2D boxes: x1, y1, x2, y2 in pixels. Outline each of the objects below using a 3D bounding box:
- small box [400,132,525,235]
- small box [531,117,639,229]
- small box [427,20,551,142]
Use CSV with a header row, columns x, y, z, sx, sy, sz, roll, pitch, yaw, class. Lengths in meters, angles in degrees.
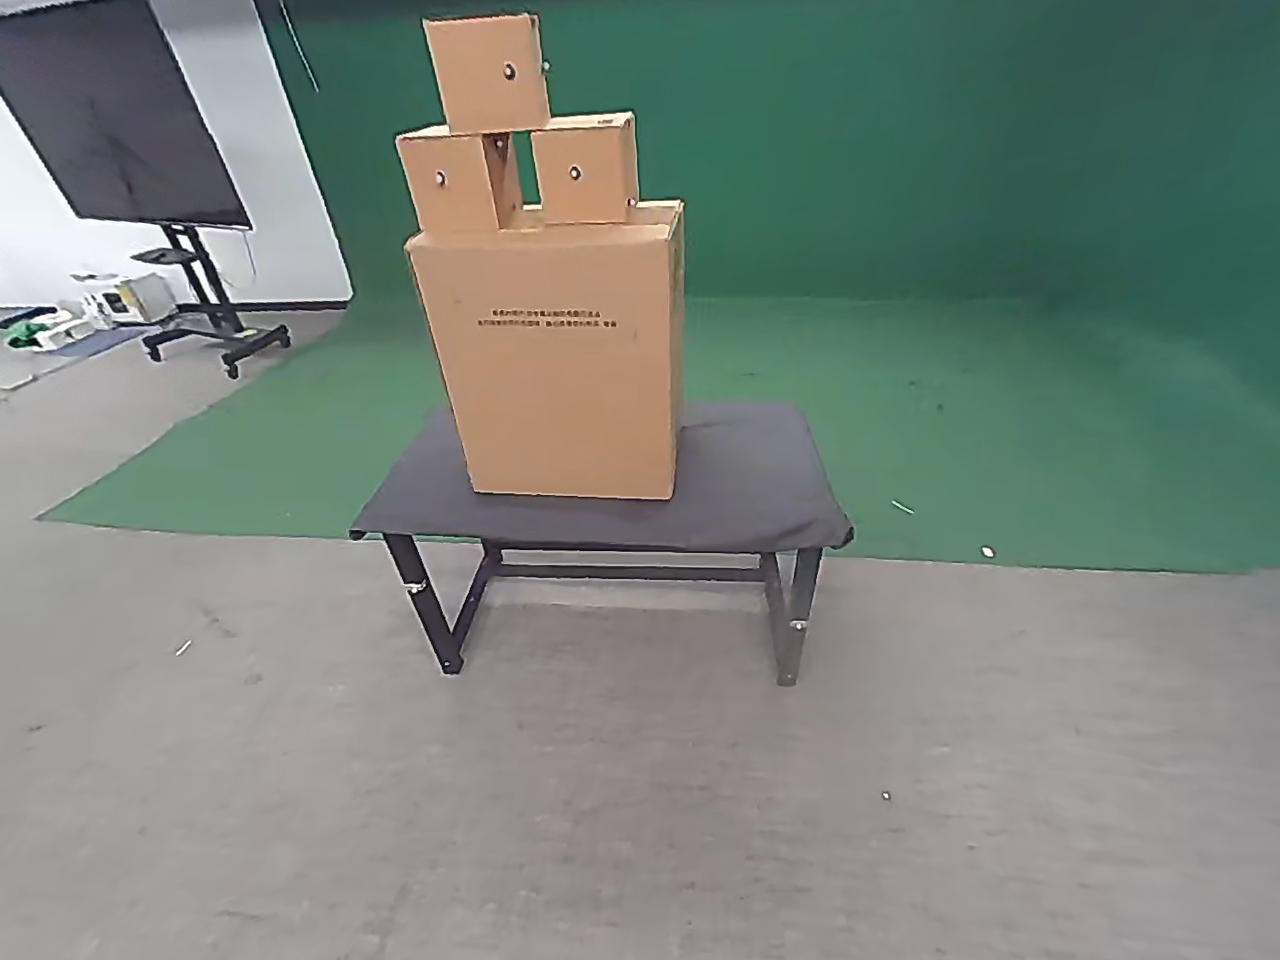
x,y,z,sx,sy,sz,roll,pitch,yaw,class
-0.359,-0.622,1.131,0.179,0.176,0.168,3,41,9,small box
-0.102,-0.630,1.112,0.179,0.176,0.168,2,41,10,small box
-0.271,-0.749,1.019,0.179,0.176,0.168,-5,38,1,small box
